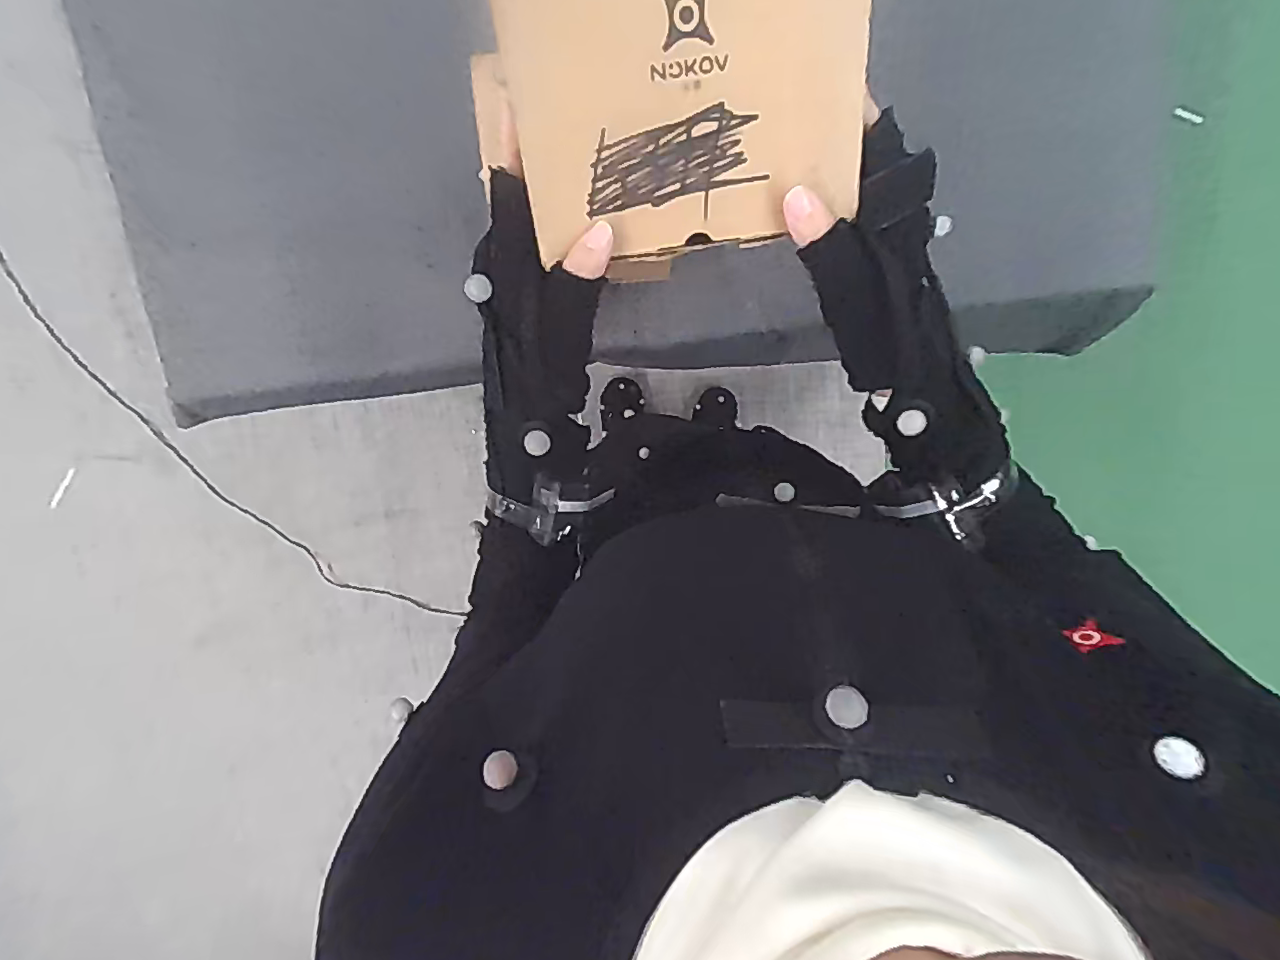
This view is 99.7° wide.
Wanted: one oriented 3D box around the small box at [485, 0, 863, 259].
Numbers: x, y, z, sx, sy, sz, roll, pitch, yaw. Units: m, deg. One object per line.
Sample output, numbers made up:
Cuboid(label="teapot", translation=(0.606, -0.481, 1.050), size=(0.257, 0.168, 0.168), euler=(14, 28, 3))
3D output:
Cuboid(label="small box", translation=(0.014, -0.238, 0.308), size=(0.168, 0.176, 0.179), euler=(-7, 119, 1))

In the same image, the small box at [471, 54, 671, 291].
Cuboid(label="small box", translation=(-0.057, -0.307, 0.563), size=(0.168, 0.176, 0.179), euler=(-5, 101, 4))
